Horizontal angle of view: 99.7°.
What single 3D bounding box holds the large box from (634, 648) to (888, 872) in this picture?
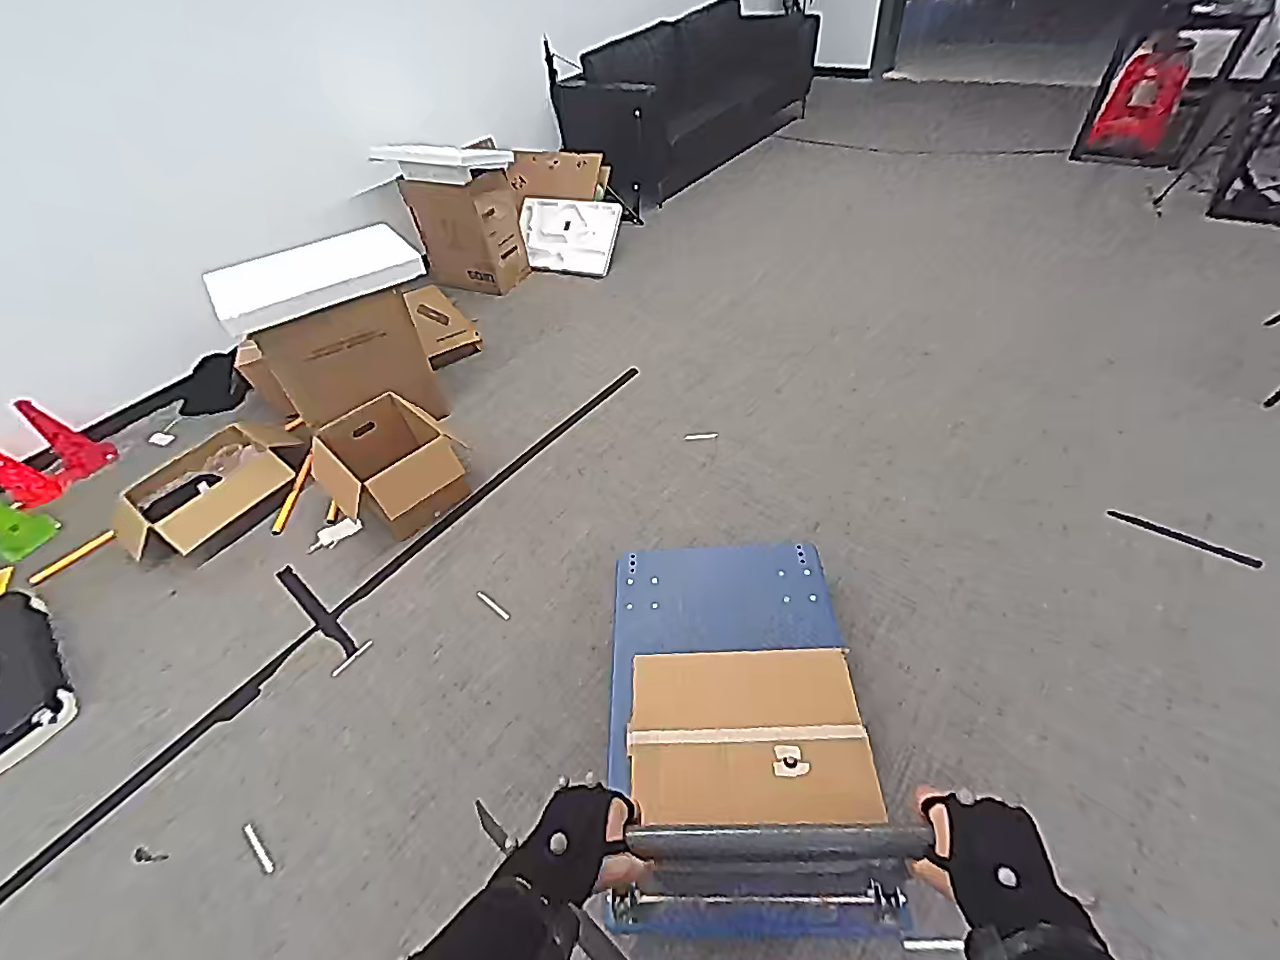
[{"bbox_3d":[0.200,0.550,1.057,0.408,0.320,0.320,-3,47,4],"label":"large box"}]
